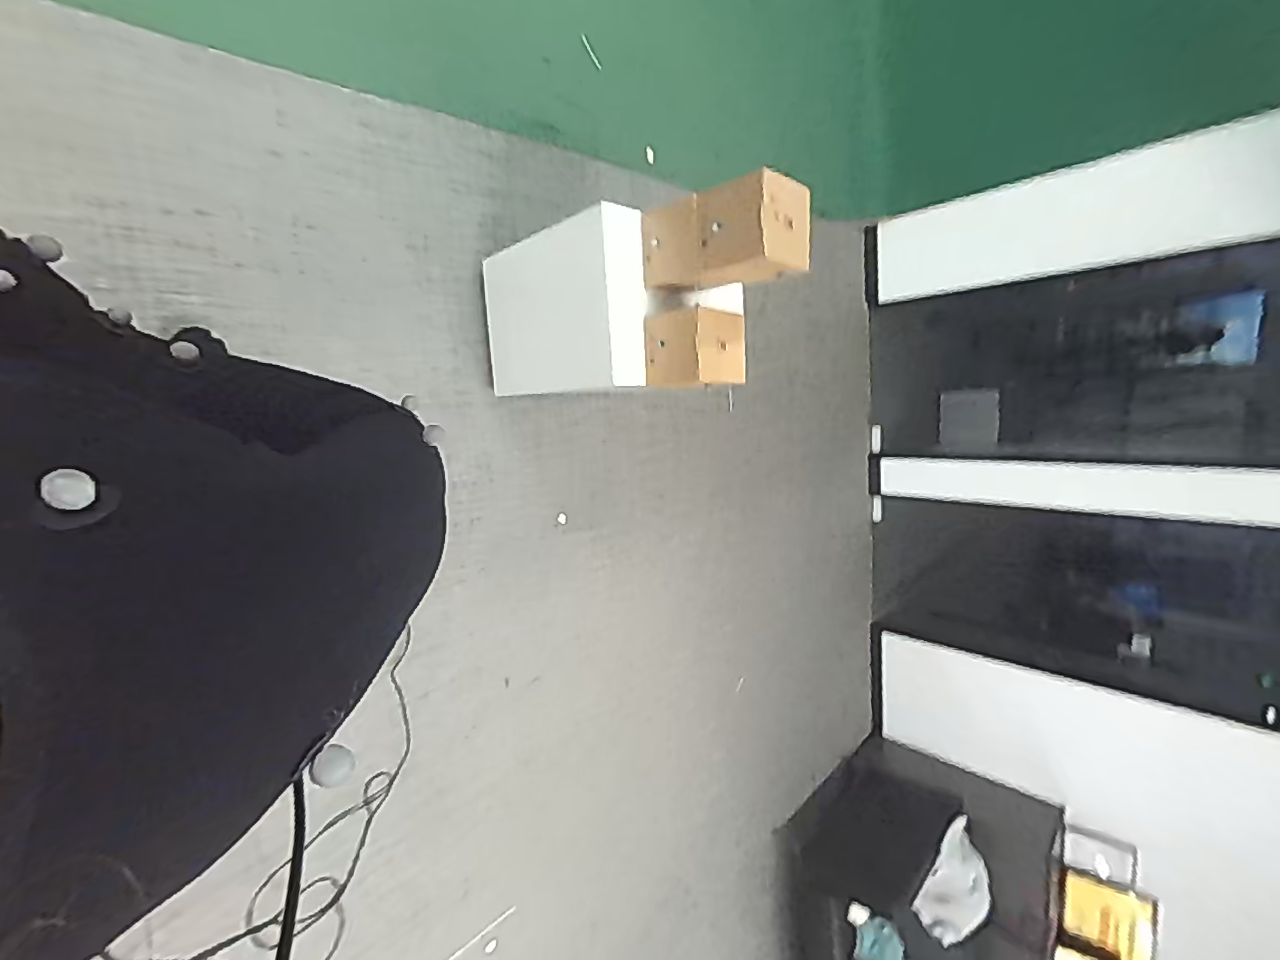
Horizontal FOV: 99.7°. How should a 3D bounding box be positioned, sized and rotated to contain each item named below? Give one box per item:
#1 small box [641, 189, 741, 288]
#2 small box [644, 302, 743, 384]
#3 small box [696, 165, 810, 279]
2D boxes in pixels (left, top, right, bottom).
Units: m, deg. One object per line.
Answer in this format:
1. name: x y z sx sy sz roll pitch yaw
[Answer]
1. small box: 0.122 -0.547 1.254 0.179 0.176 0.168 -11 103 -42
2. small box: 0.128 -0.318 1.286 0.179 0.176 0.168 -9 100 -42
3. small box: 0.238 -0.529 1.139 0.179 0.176 0.168 -9 101 -43
